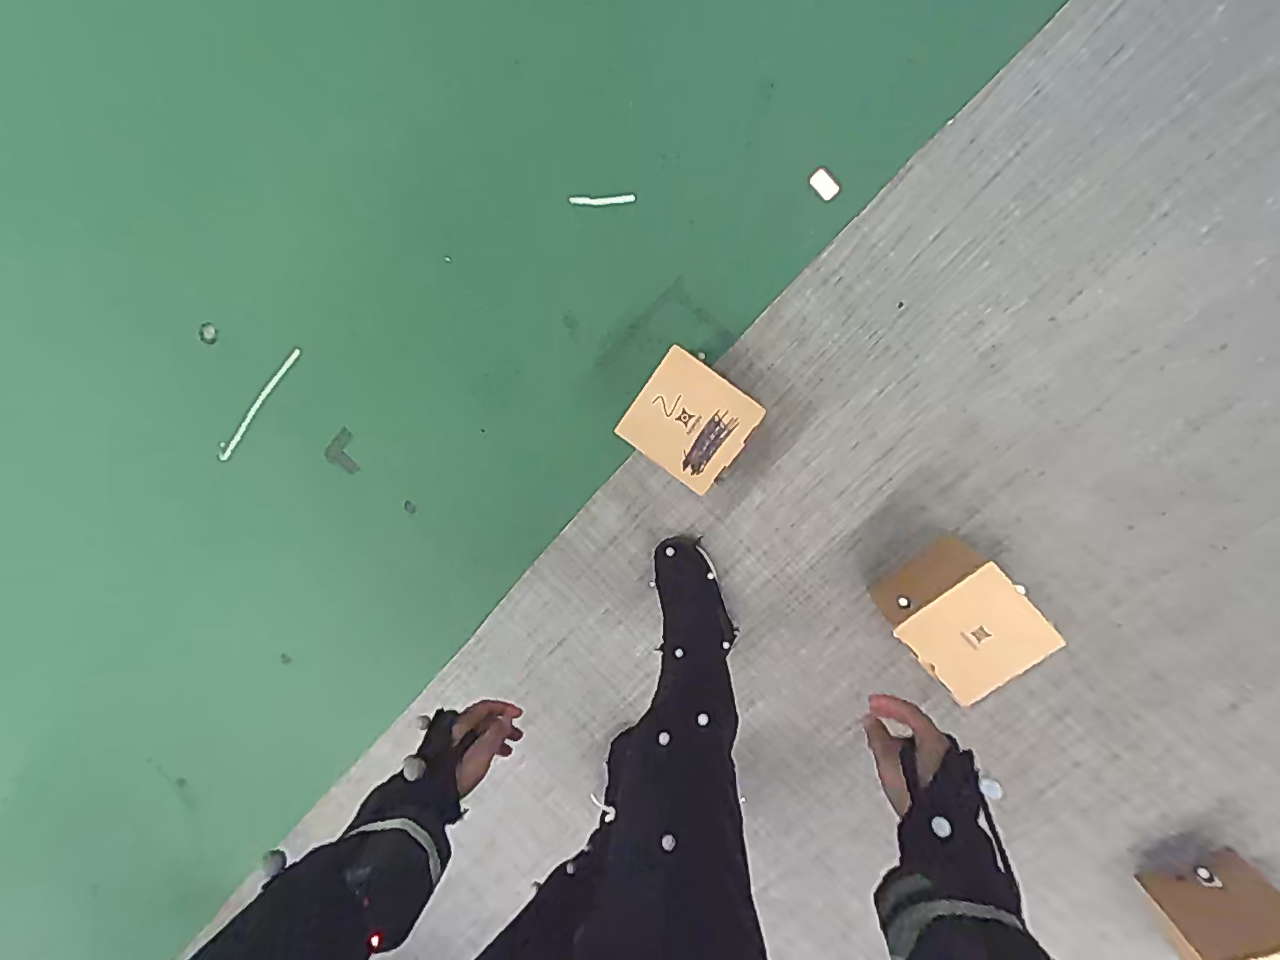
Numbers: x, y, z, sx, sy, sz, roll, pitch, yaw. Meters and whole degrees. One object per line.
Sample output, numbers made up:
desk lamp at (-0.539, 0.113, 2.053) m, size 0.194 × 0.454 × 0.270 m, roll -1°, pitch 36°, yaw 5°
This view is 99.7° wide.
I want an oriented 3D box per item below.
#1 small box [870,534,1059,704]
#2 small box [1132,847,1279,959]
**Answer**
small box at (0.508, 0.214, 0.879) m, size 0.179 × 0.176 × 0.168 m, roll -43°, pitch 90°, yaw 15°
small box at (0.980, 0.758, 0.885) m, size 0.168 × 0.176 × 0.179 m, roll -30°, pitch 92°, yaw 12°
